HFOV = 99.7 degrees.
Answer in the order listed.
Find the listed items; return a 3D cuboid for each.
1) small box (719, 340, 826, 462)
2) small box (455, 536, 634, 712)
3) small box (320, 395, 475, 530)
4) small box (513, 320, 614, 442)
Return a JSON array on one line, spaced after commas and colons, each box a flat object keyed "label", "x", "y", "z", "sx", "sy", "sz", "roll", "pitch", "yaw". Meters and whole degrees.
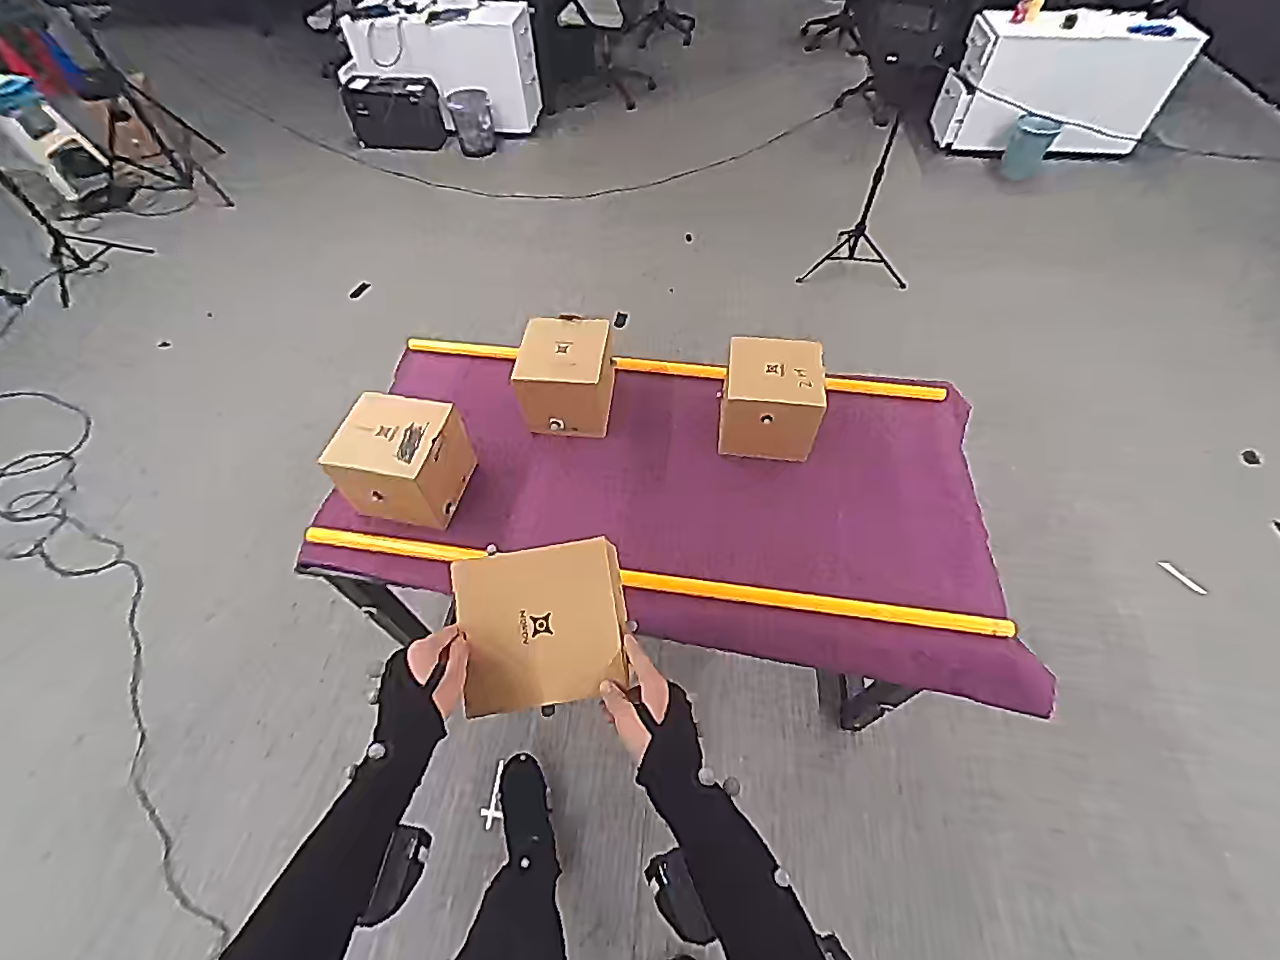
[{"label": "small box", "x": 0.252, "y": -0.151, "z": 1.057, "sx": 0.179, "sy": 0.176, "sz": 0.168, "roll": 6, "pitch": 57, "yaw": 5}, {"label": "small box", "x": -0.104, "y": 0.165, "z": 0.659, "sx": 0.179, "sy": 0.176, "sz": 0.168, "roll": -10, "pitch": 79, "yaw": 1}, {"label": "small box", "x": -0.421, "y": -0.027, "z": 0.979, "sx": 0.179, "sy": 0.176, "sz": 0.168, "roll": 9, "pitch": 56, "yaw": 7}, {"label": "small box", "x": -0.145, "y": -0.201, "z": 1.101, "sx": 0.168, "sy": 0.176, "sz": 0.179, "roll": 3, "pitch": 56, "yaw": 4}]
